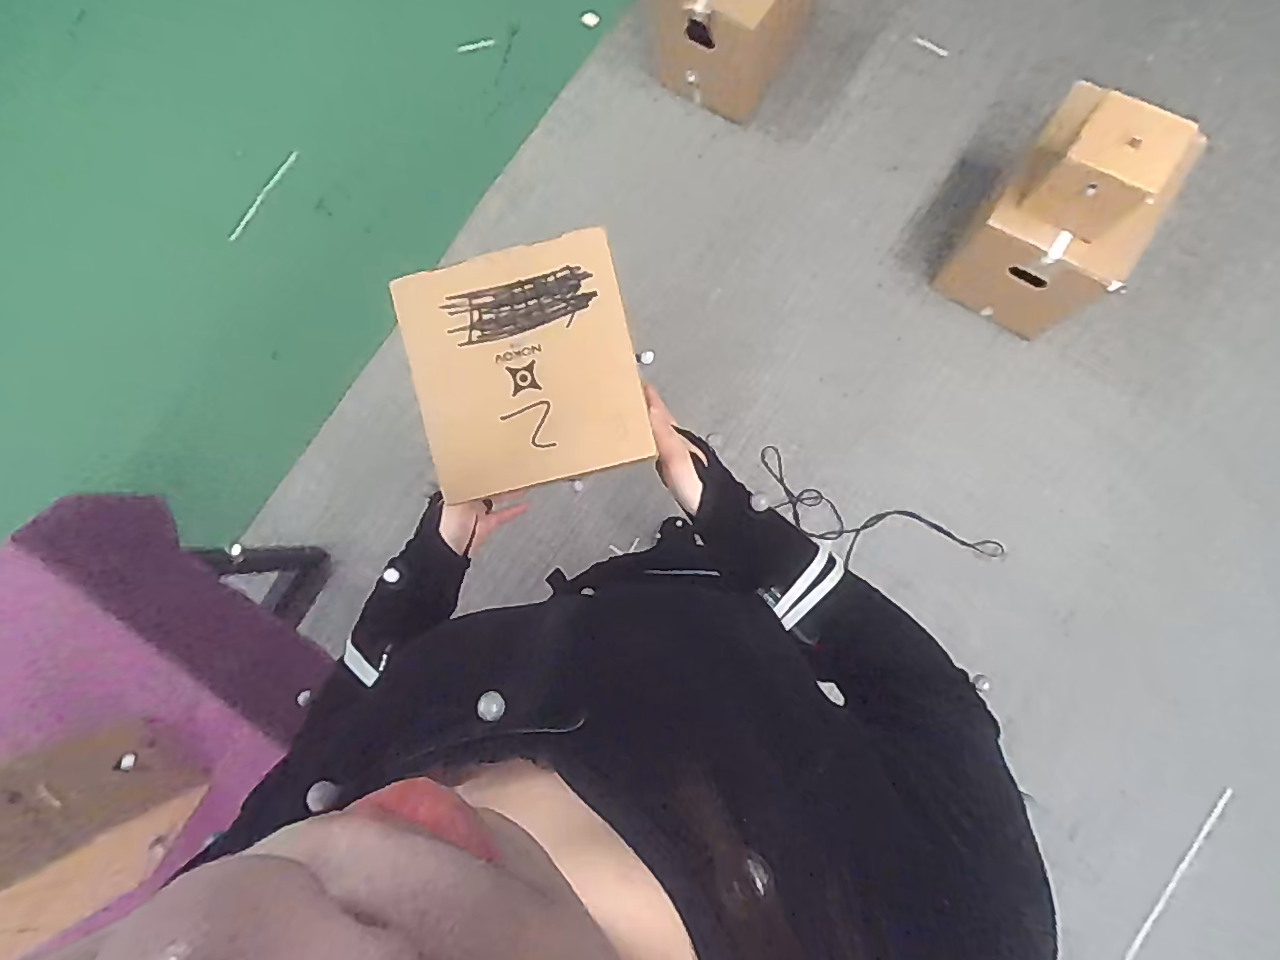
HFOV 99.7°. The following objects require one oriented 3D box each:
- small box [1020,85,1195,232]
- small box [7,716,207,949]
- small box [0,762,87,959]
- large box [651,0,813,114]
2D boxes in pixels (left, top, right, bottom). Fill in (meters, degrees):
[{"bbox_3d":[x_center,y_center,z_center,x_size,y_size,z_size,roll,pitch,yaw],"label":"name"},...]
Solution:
[{"bbox_3d":[0.942,-0.644,1.107,0.179,0.176,0.168,33,88,10],"label":"small box"},{"bbox_3d":[-0.759,0.462,0.746,0.168,0.176,0.179,33,88,8],"label":"small box"},{"bbox_3d":[-0.772,0.449,0.582,0.168,0.176,0.179,32,89,8],"label":"small box"},{"bbox_3d":[0.265,-1.338,1.488,0.320,0.320,0.408,33,87,8],"label":"large box"}]
